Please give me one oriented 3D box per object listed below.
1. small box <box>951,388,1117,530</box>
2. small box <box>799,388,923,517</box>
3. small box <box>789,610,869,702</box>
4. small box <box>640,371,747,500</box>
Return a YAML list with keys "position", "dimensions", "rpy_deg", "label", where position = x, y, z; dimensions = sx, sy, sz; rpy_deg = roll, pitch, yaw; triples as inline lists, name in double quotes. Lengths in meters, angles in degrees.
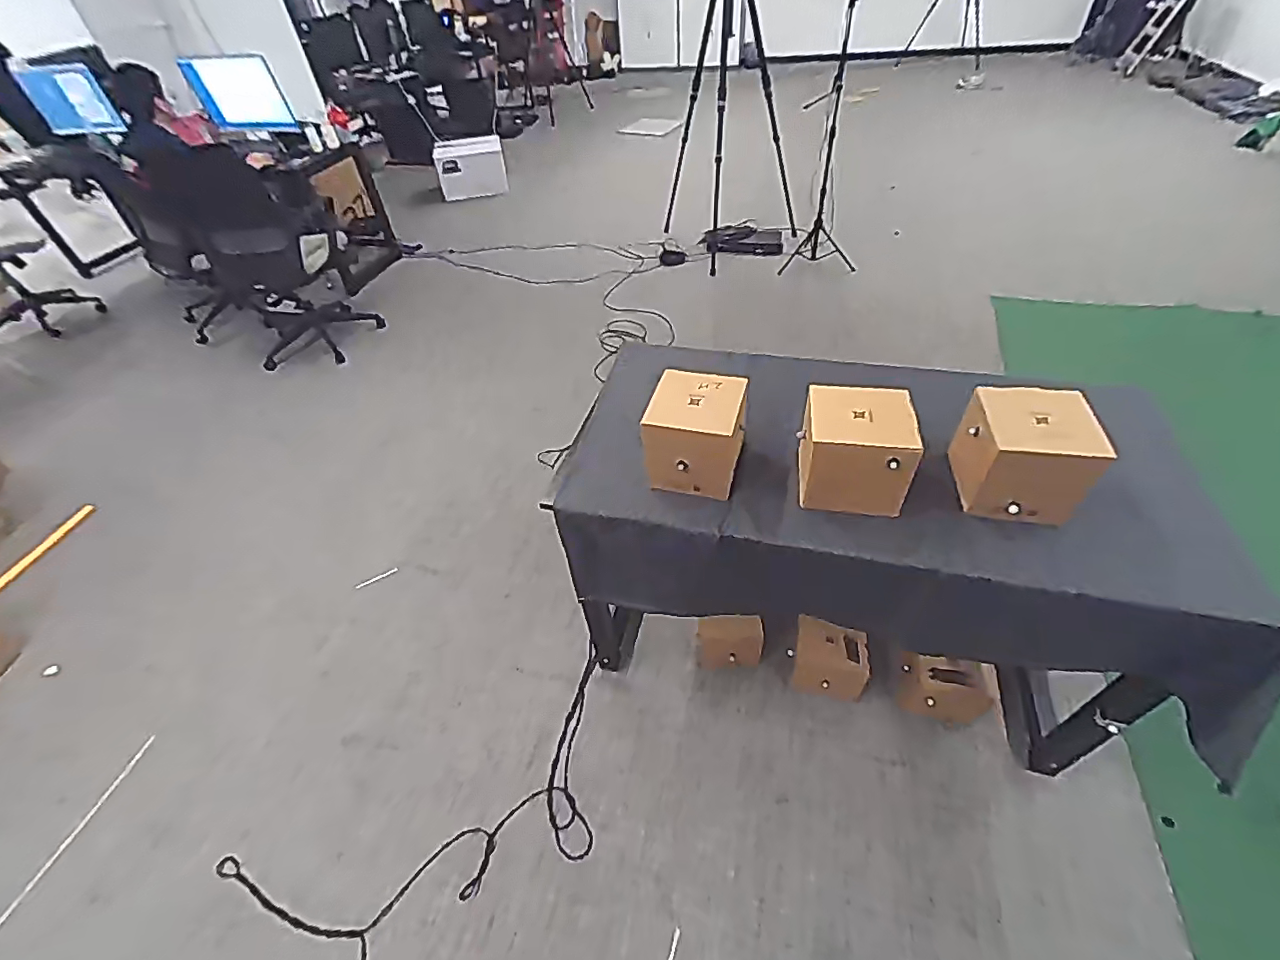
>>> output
- position: [0.668, -0.039, 0.946]
  dimensions: [0.168, 0.176, 0.179]
  rpy_deg: [6, 46, 13]
  label: "small box"
- position: [0.388, -0.050, 0.986]
  dimensions: [0.179, 0.176, 0.168]
  rpy_deg: [5, 46, 10]
  label: "small box"
- position: [0.510, 0.482, 1.470]
  dimensions: [0.179, 0.176, 0.168]
  rpy_deg: [6, 46, 13]
  label: "small box"
- position: [0.107, -0.085, 1.045]
  dimensions: [0.168, 0.176, 0.179]
  rpy_deg: [10, 47, 15]
  label: "small box"
